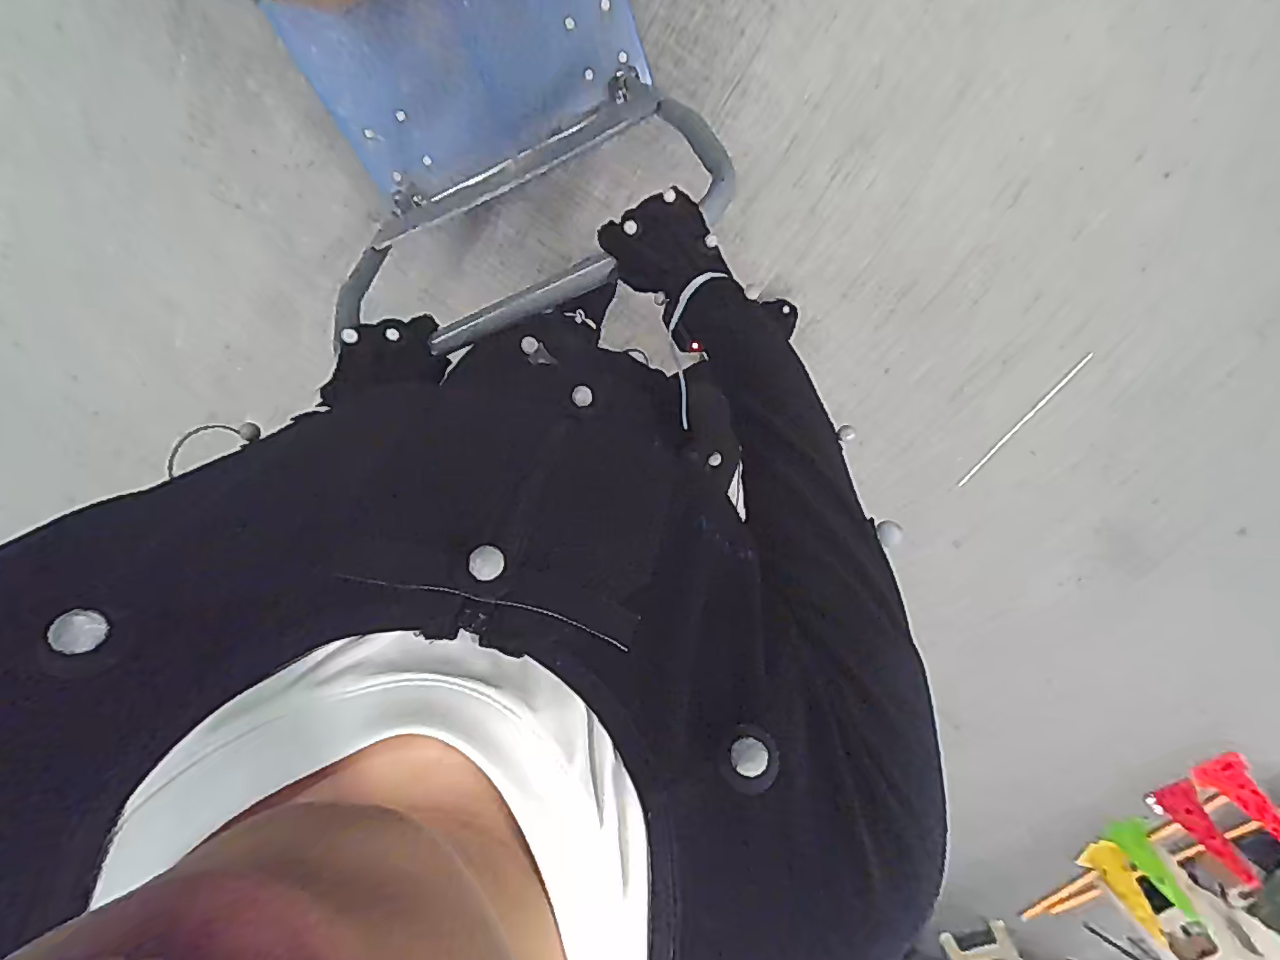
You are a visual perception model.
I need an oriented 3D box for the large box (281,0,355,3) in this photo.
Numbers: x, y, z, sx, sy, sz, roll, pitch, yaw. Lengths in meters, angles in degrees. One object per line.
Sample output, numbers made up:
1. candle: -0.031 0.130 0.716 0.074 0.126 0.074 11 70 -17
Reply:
1. large box: -0.342 -0.877 0.683 0.408 0.320 0.320 -18 129 7
